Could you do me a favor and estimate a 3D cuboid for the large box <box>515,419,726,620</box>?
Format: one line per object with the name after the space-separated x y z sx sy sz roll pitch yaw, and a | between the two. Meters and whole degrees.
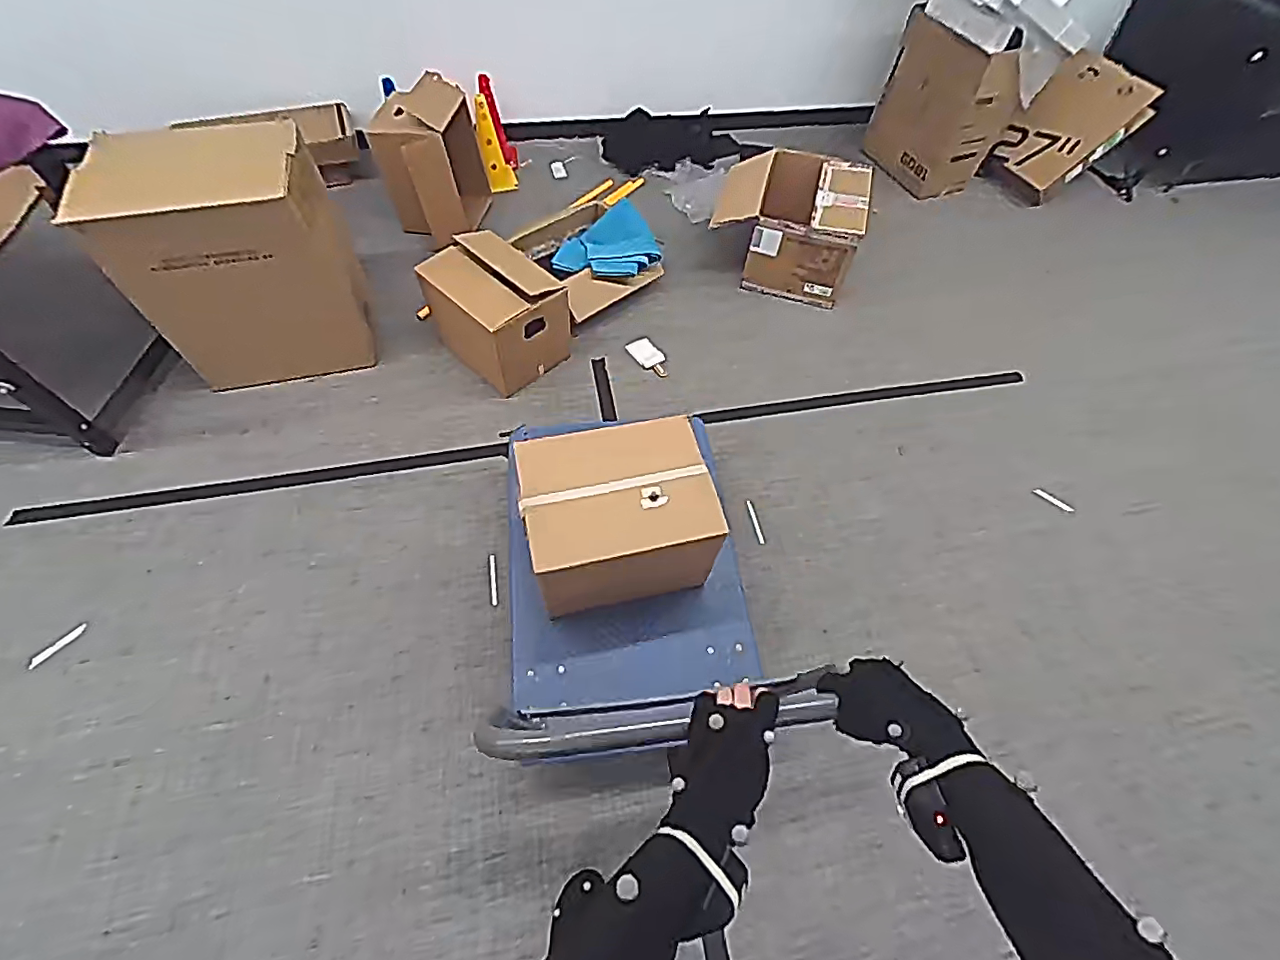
-0.059 0.098 1.284 0.408 0.320 0.320 -11 61 -11 | large box
